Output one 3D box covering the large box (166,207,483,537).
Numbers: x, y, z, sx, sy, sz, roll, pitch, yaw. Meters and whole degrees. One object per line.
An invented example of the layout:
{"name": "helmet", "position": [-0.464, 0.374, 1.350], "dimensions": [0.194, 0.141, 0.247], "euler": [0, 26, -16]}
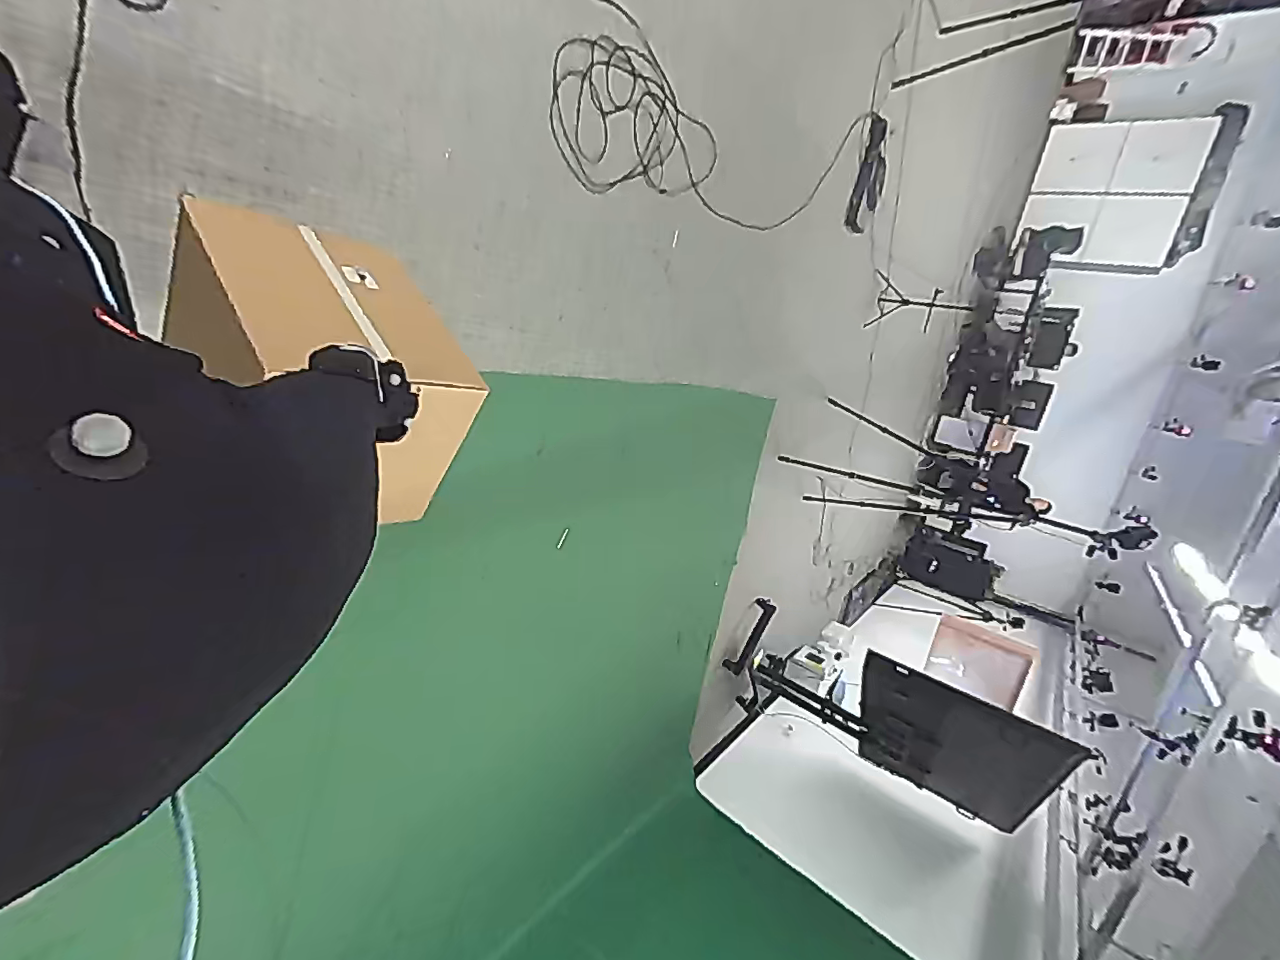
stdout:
{"name": "large box", "position": [-0.537, -0.168, 0.903], "dimensions": [0.320, 0.408, 0.320], "euler": [-5, 139, -52]}
